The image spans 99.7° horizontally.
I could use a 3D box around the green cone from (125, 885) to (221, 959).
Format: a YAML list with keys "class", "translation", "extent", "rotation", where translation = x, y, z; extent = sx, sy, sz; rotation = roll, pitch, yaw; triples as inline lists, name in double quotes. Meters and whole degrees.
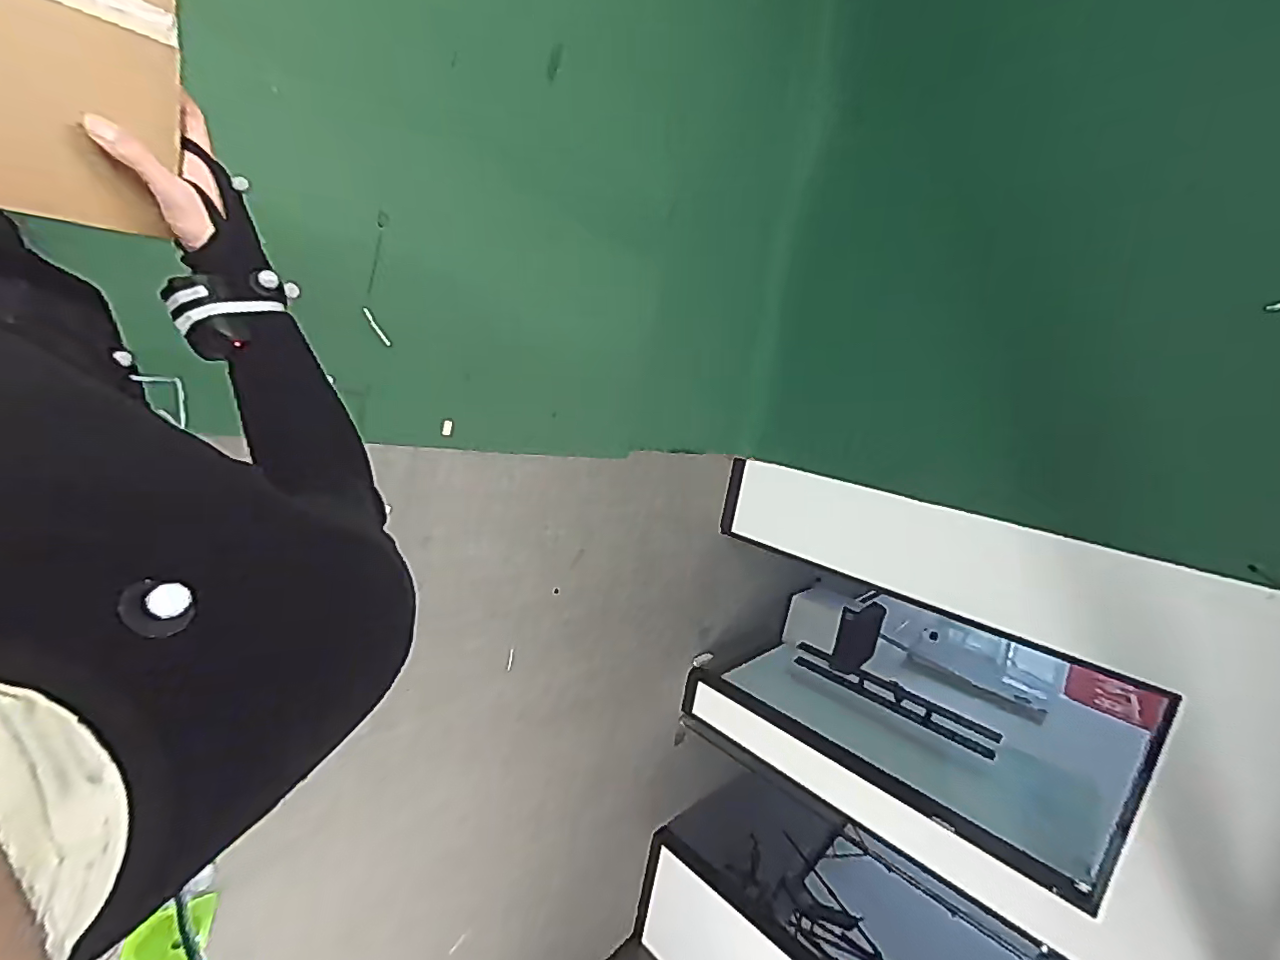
- class: "green cone"
  translation: [-1.230, 1.346, 1.464]
  extent: [0.200, 0.368, 0.202]
  rotation: [9, 97, -51]
